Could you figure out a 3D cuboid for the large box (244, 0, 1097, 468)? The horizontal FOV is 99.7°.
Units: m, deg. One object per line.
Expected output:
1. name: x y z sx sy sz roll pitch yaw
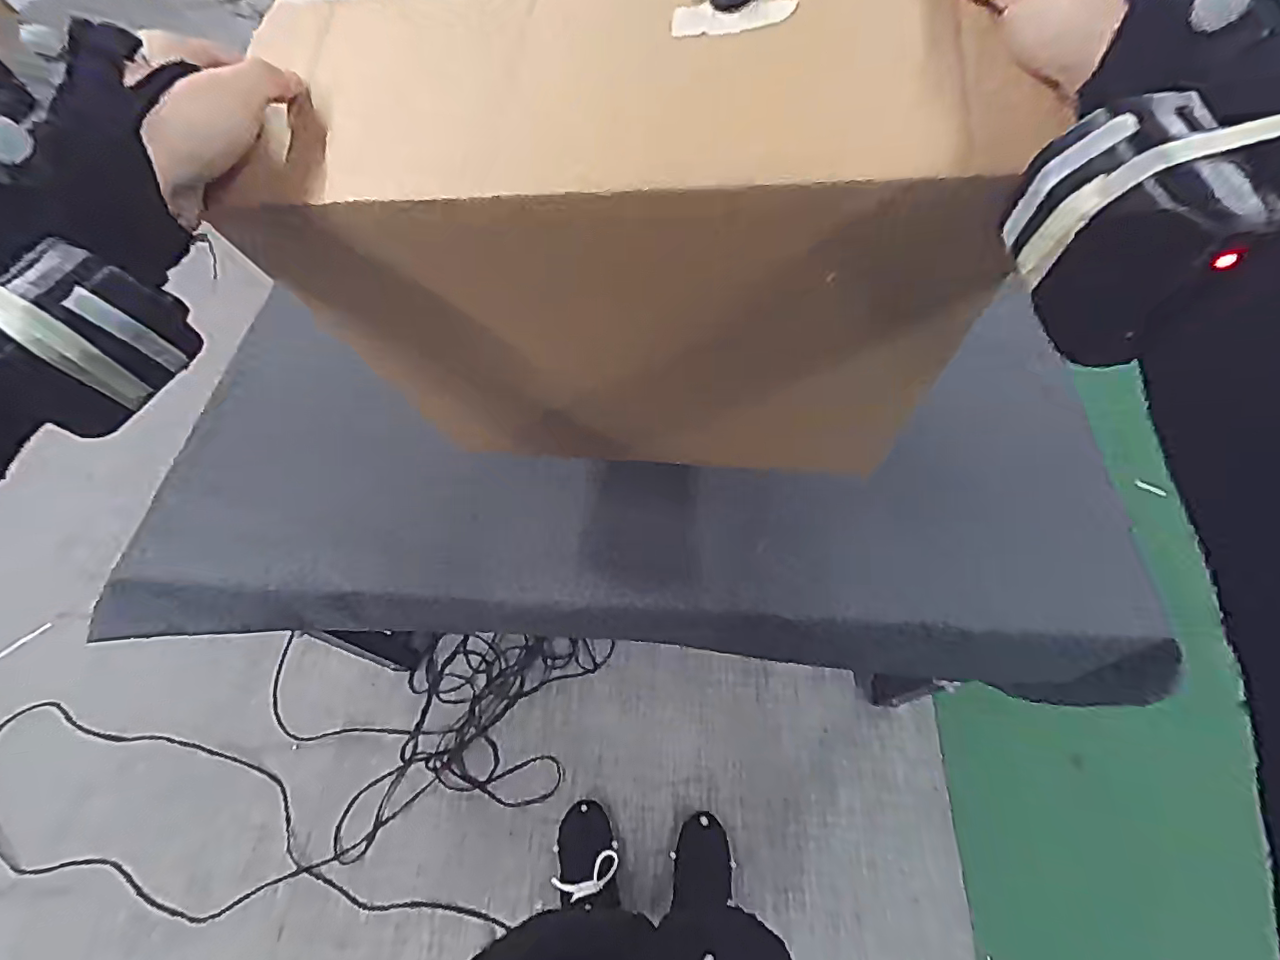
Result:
1. large box: 0.023 -0.212 0.437 0.408 0.320 0.320 4 70 9
